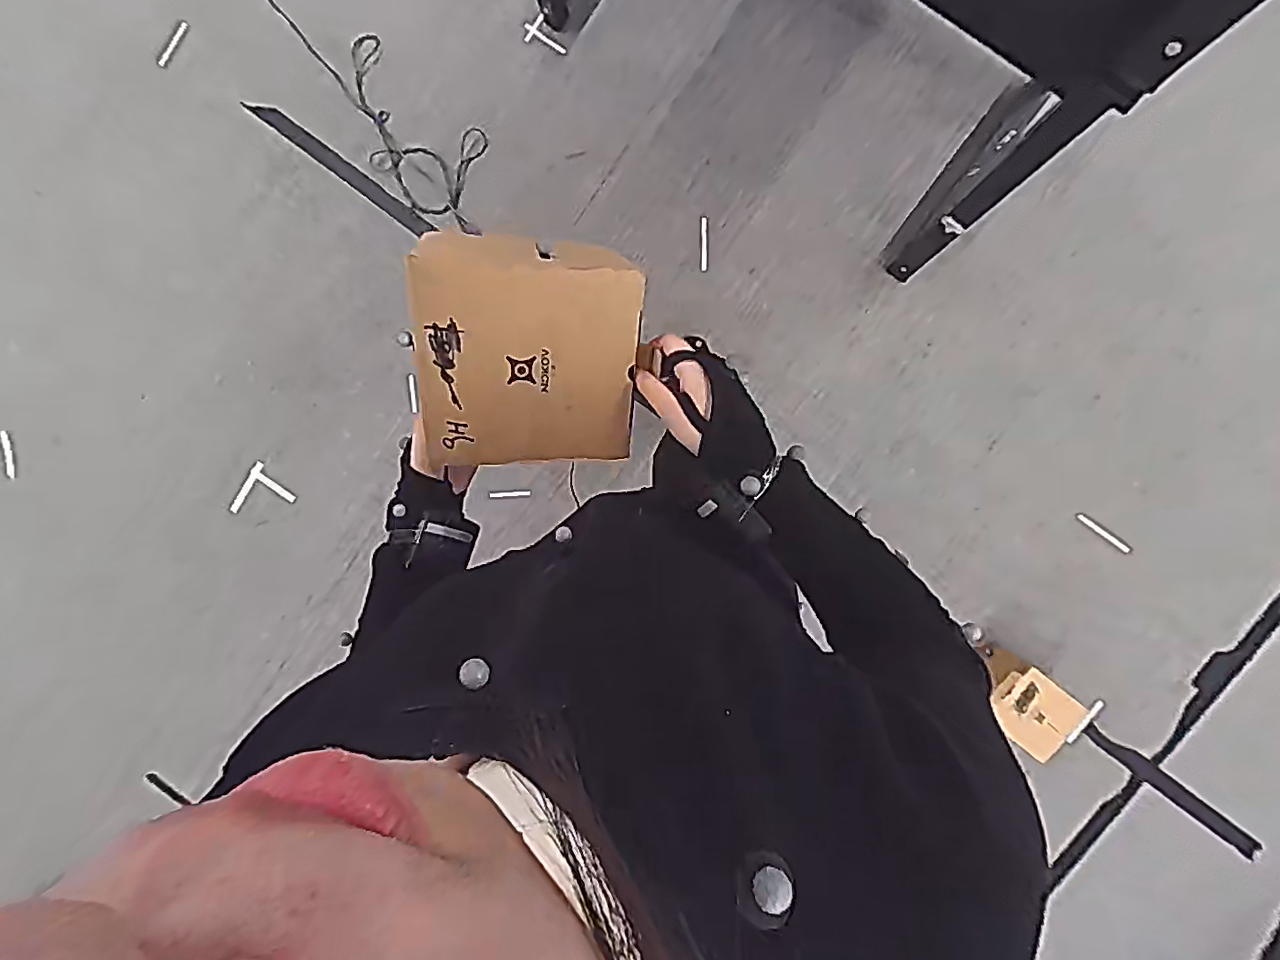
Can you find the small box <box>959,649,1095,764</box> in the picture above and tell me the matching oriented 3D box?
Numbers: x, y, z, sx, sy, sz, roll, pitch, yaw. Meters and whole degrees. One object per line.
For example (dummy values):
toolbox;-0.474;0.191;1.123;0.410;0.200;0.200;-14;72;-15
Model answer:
small box;0.935;0.541;1.329;0.179;0.176;0.168;39;96;2
